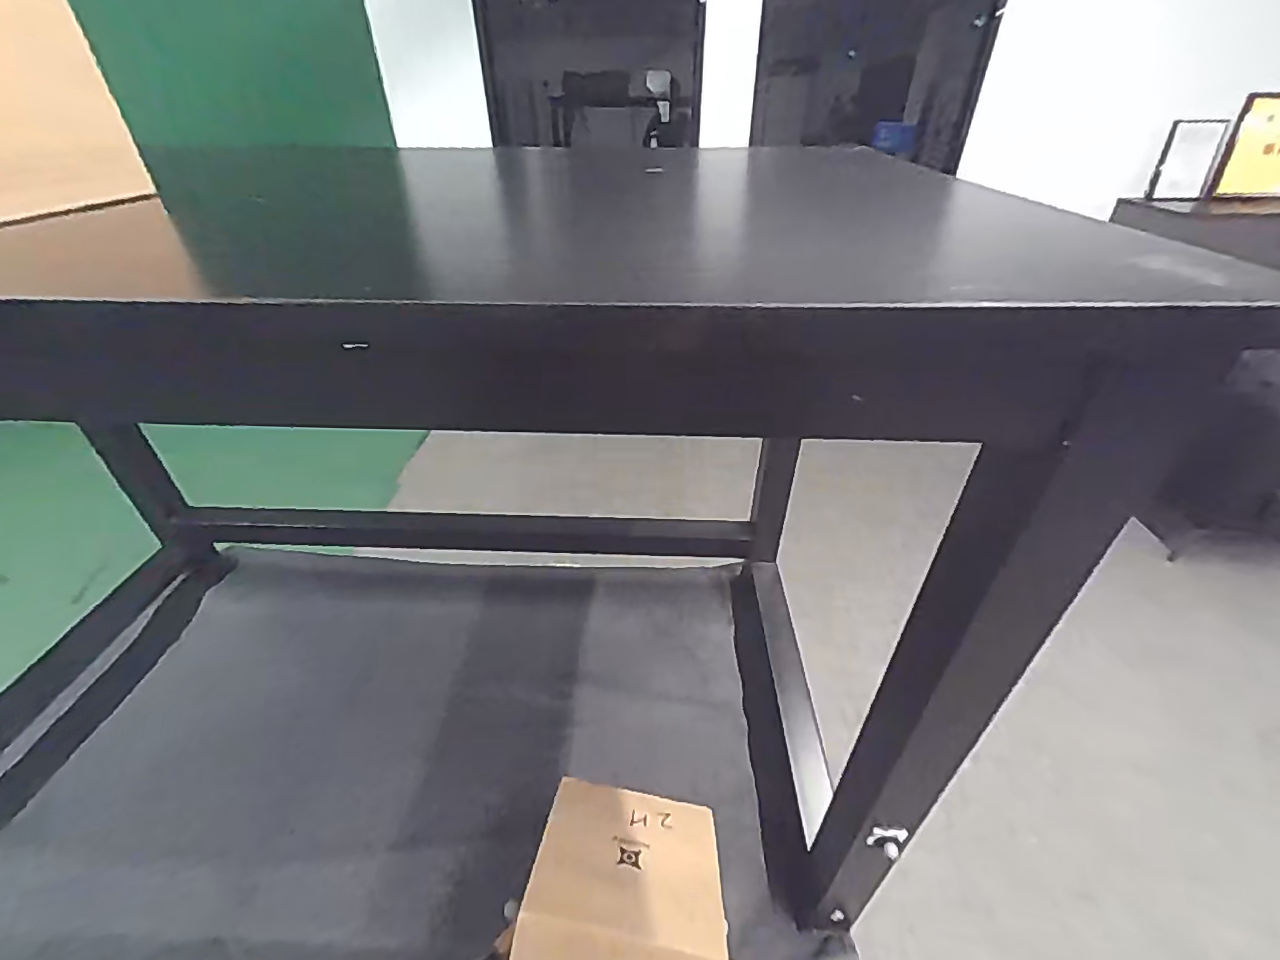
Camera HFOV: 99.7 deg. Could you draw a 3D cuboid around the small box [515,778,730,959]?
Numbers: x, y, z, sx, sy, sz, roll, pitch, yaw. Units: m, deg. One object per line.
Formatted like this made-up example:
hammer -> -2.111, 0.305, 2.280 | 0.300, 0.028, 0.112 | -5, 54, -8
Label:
small box -> -0.020, 0.421, 0.500 | 0.168, 0.176, 0.179 | 11, 5, 2
